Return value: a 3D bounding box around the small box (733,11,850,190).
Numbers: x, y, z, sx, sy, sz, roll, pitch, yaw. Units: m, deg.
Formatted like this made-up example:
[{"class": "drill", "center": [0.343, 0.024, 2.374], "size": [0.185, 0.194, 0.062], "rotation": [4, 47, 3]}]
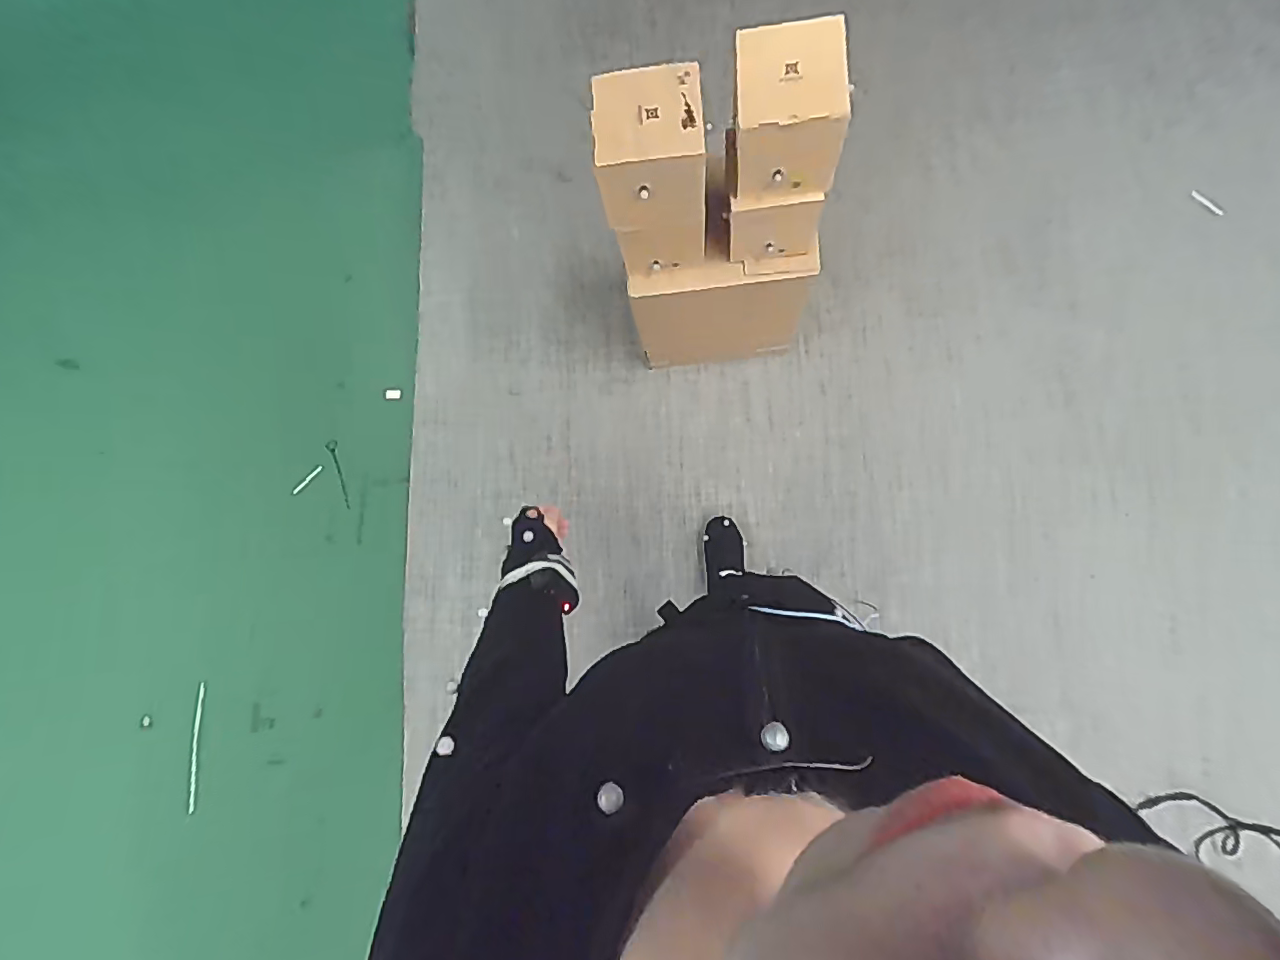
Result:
[{"class": "small box", "center": [0.243, -0.622, 0.904], "size": [0.168, 0.176, 0.179], "rotation": [-1, 81, 8]}]
